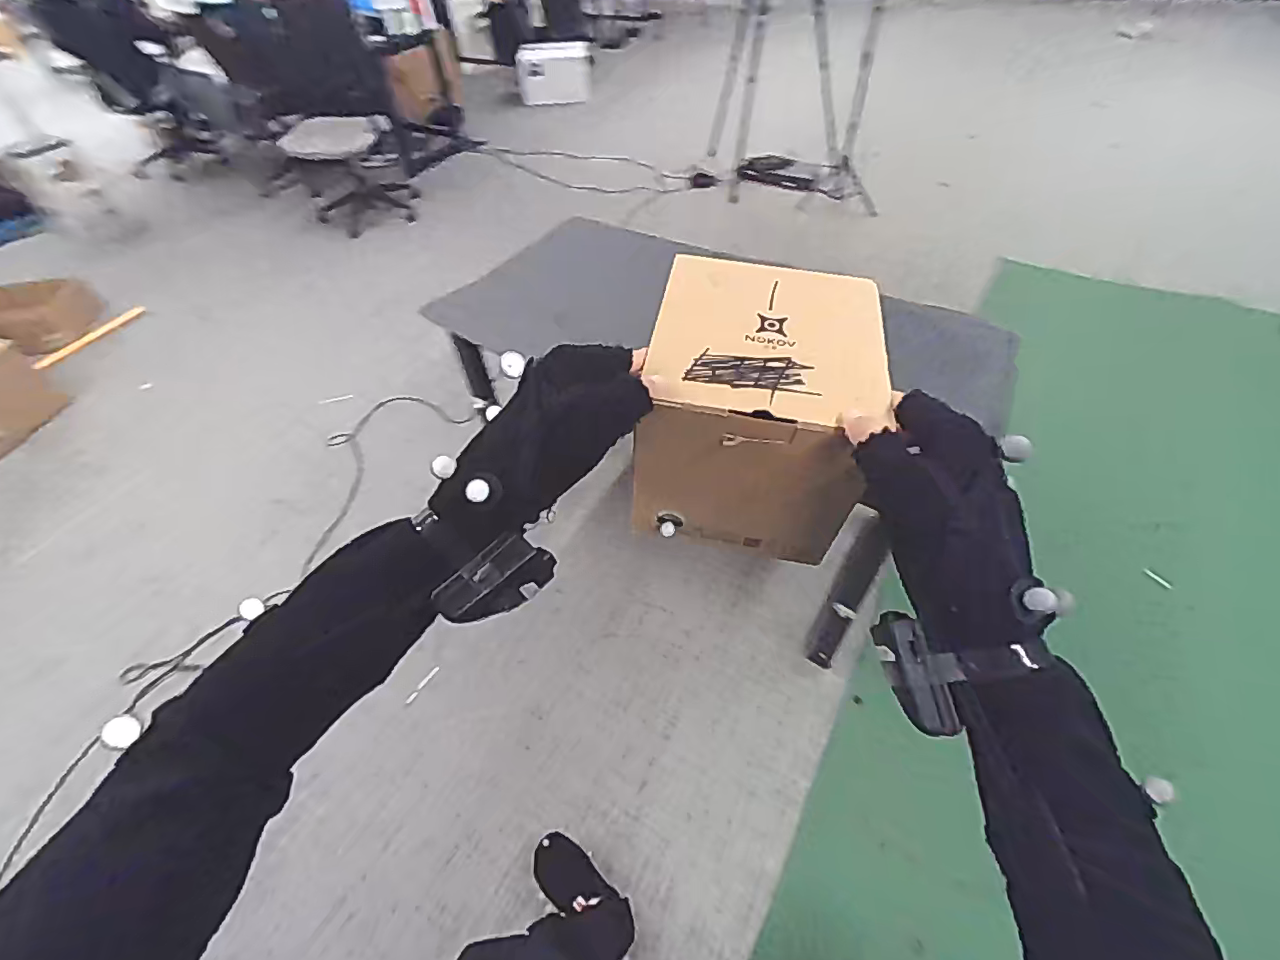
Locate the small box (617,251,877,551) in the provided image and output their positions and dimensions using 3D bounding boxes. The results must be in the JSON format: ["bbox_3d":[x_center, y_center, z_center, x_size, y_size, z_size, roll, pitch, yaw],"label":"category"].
[{"bbox_3d":[0.080,-0.061,0.451,0.168,0.176,0.179,9,53,5],"label":"small box"}]
